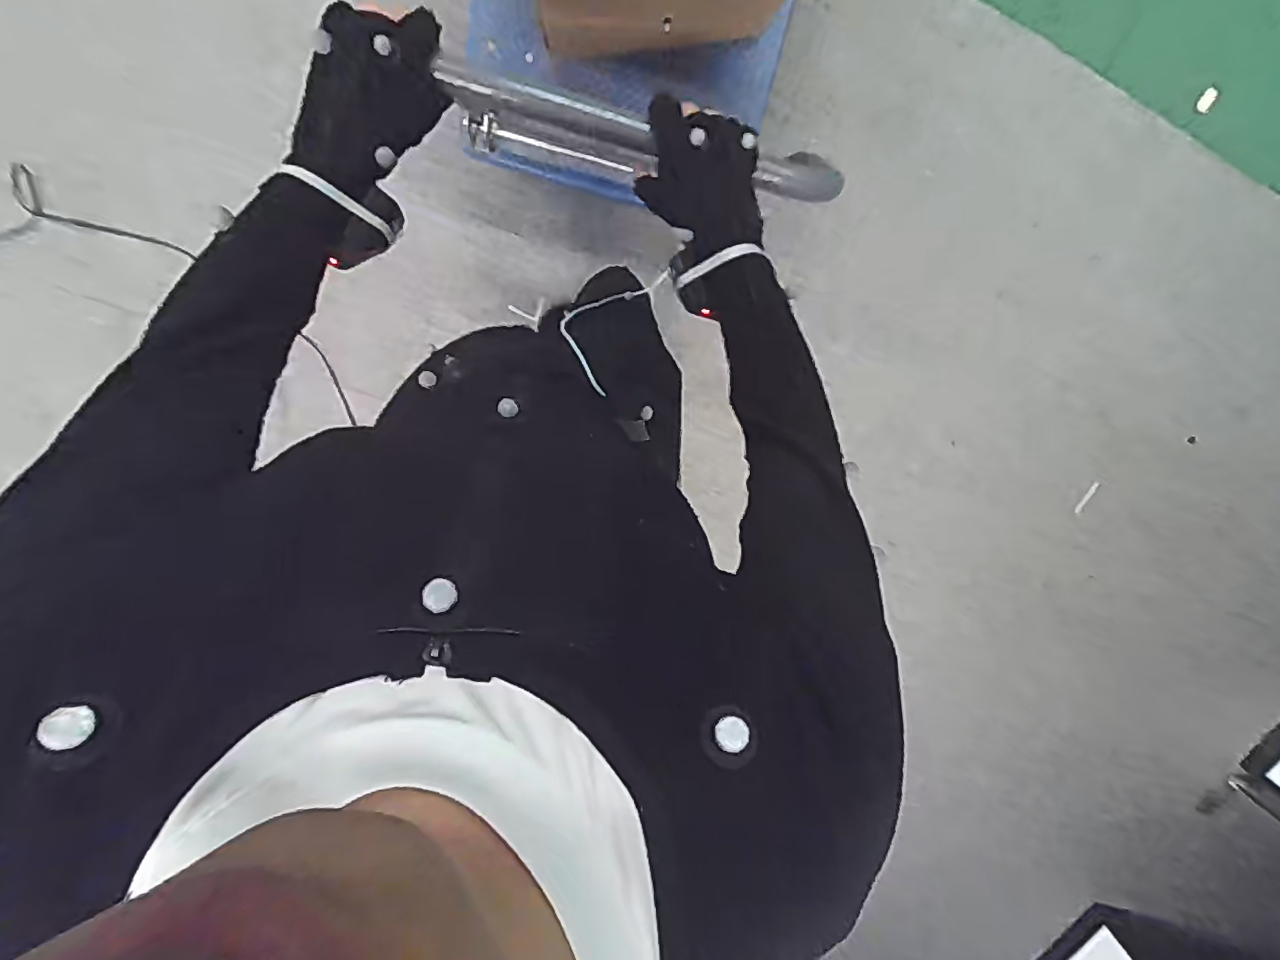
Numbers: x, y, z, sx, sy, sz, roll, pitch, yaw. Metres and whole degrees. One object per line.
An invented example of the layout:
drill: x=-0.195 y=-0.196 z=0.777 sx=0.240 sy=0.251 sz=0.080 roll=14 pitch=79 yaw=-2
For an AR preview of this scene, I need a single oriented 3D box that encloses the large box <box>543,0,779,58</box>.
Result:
large box: x=0.028 y=-0.912 z=0.835 sx=0.408 sy=0.320 sz=0.320 roll=-9 pitch=111 yaw=0
